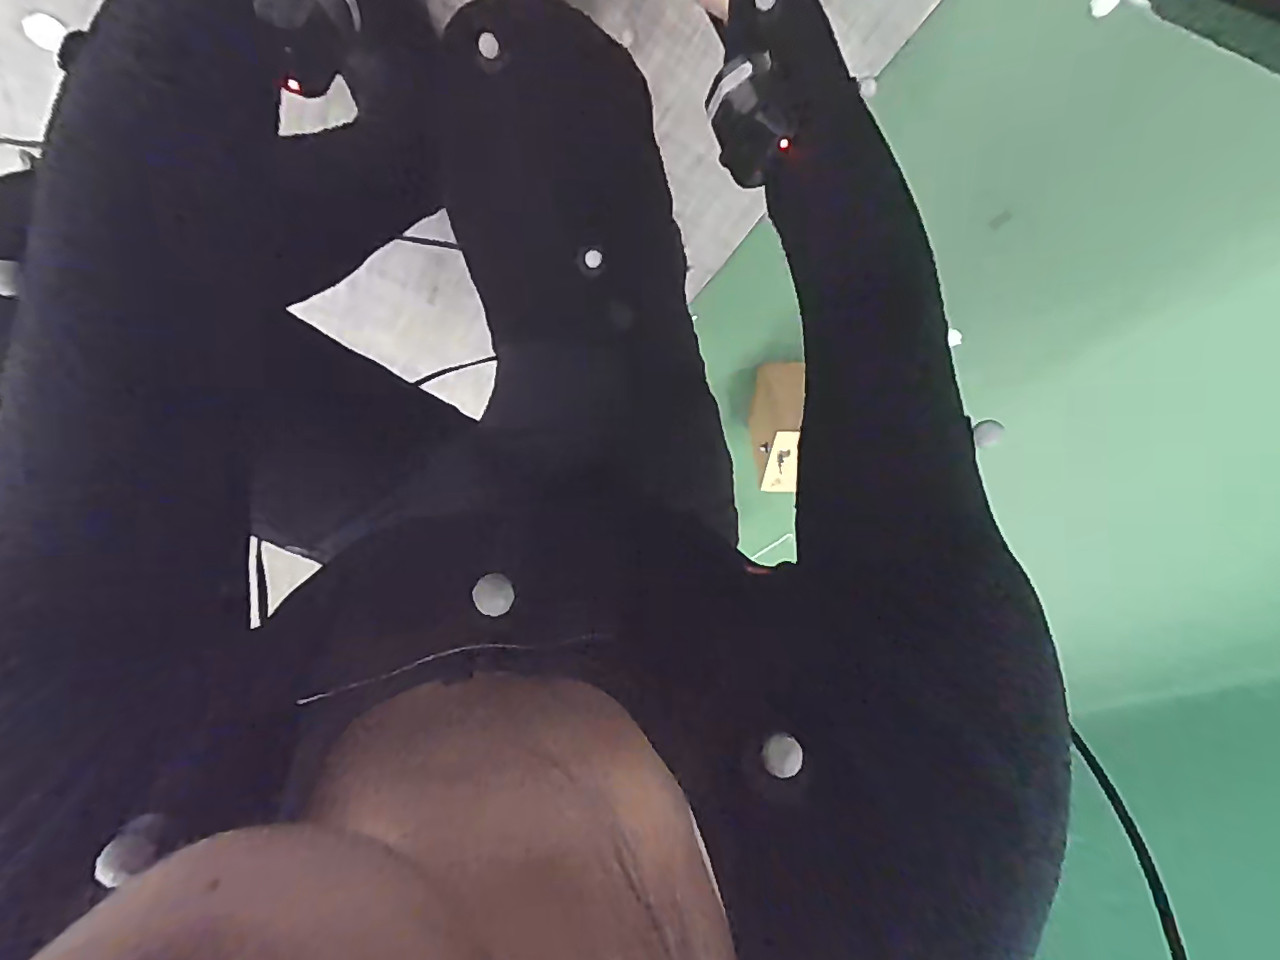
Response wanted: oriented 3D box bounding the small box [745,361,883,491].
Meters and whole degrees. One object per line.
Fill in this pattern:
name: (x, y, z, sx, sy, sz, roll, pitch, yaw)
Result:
small box: (0.296, -0.097, 0.962, 0.179, 0.176, 0.168, -2, 144, -1)
